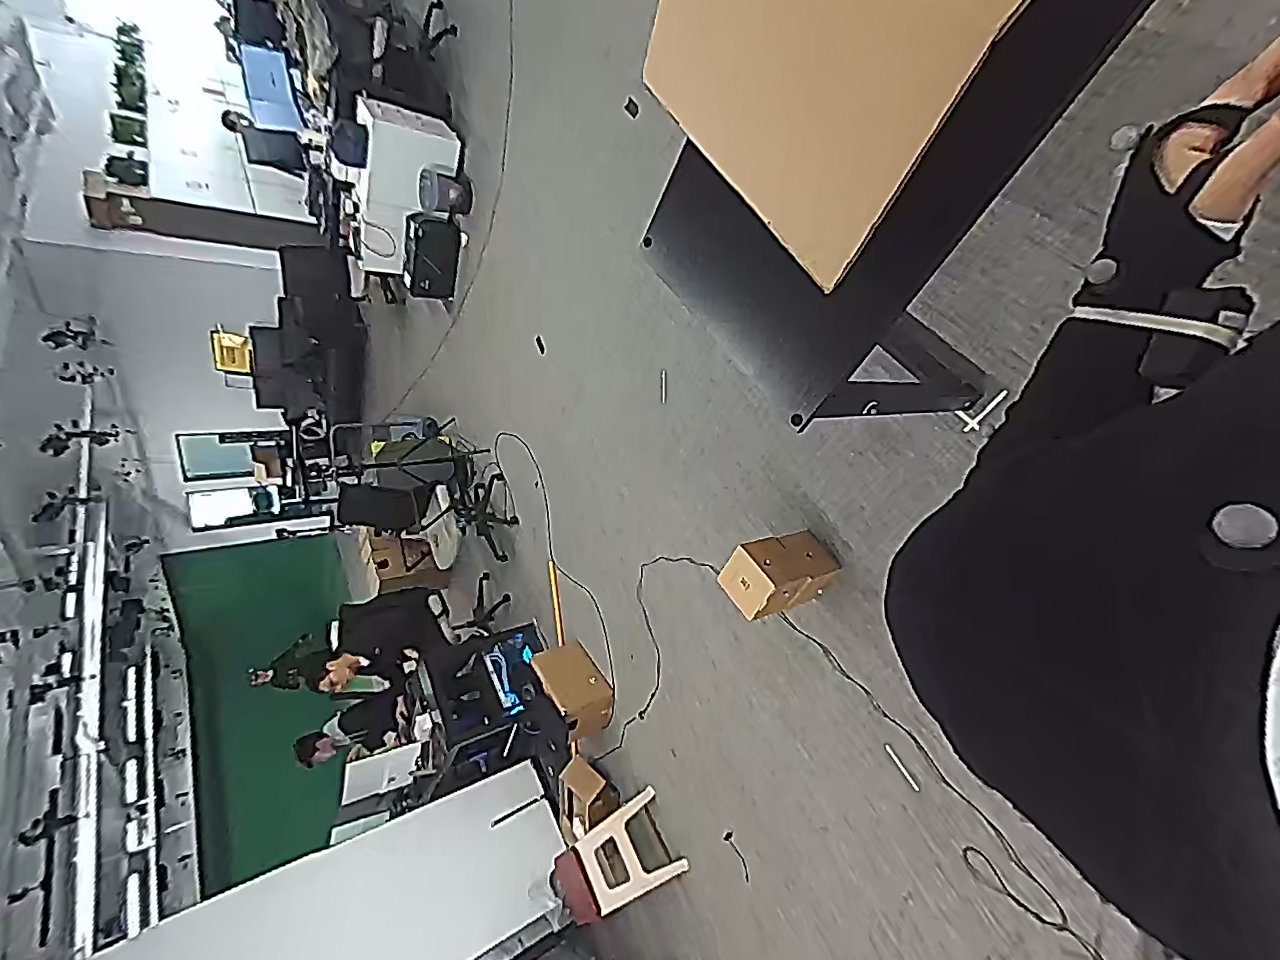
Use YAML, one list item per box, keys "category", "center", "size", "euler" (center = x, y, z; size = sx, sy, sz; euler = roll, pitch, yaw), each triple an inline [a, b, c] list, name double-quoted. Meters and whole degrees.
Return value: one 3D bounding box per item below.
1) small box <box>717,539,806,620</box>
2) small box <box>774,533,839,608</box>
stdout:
- category: "small box"
  center: [0.378, 0.301, 1.679]
  size: [0.179, 0.176, 0.168]
  euler: [53, 133, 35]
- category: "small box"
  center: [0.510, 0.290, 1.773]
  size: [0.179, 0.176, 0.168]
  euler: [54, 134, 32]
